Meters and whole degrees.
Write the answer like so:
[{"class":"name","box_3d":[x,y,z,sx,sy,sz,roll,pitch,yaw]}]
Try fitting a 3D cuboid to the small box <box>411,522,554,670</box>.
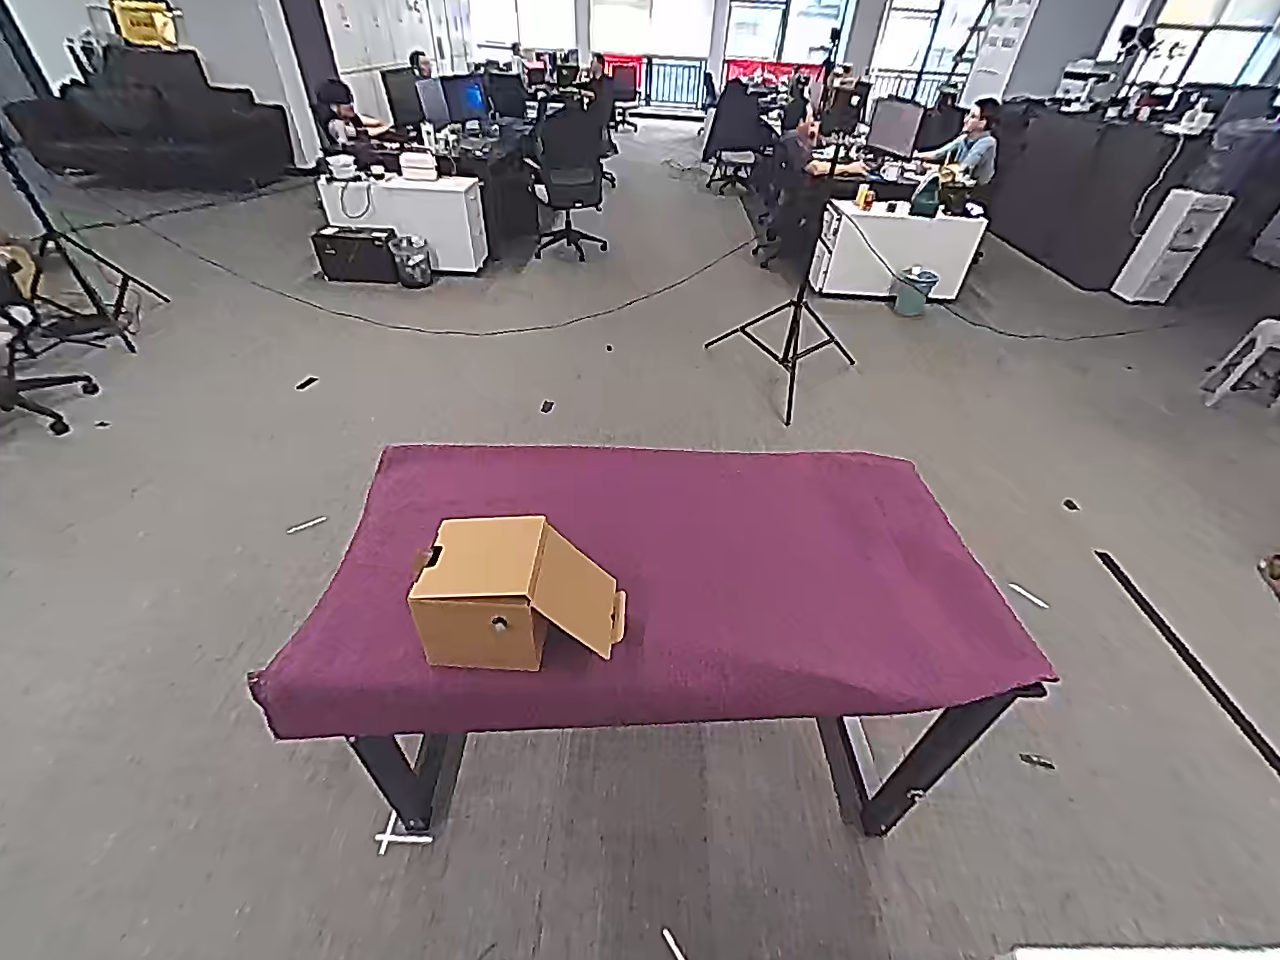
[{"class":"small box","box_3d":[-0.239,0.188,0.874,0.179,0.176,0.168,3,38,0]}]
